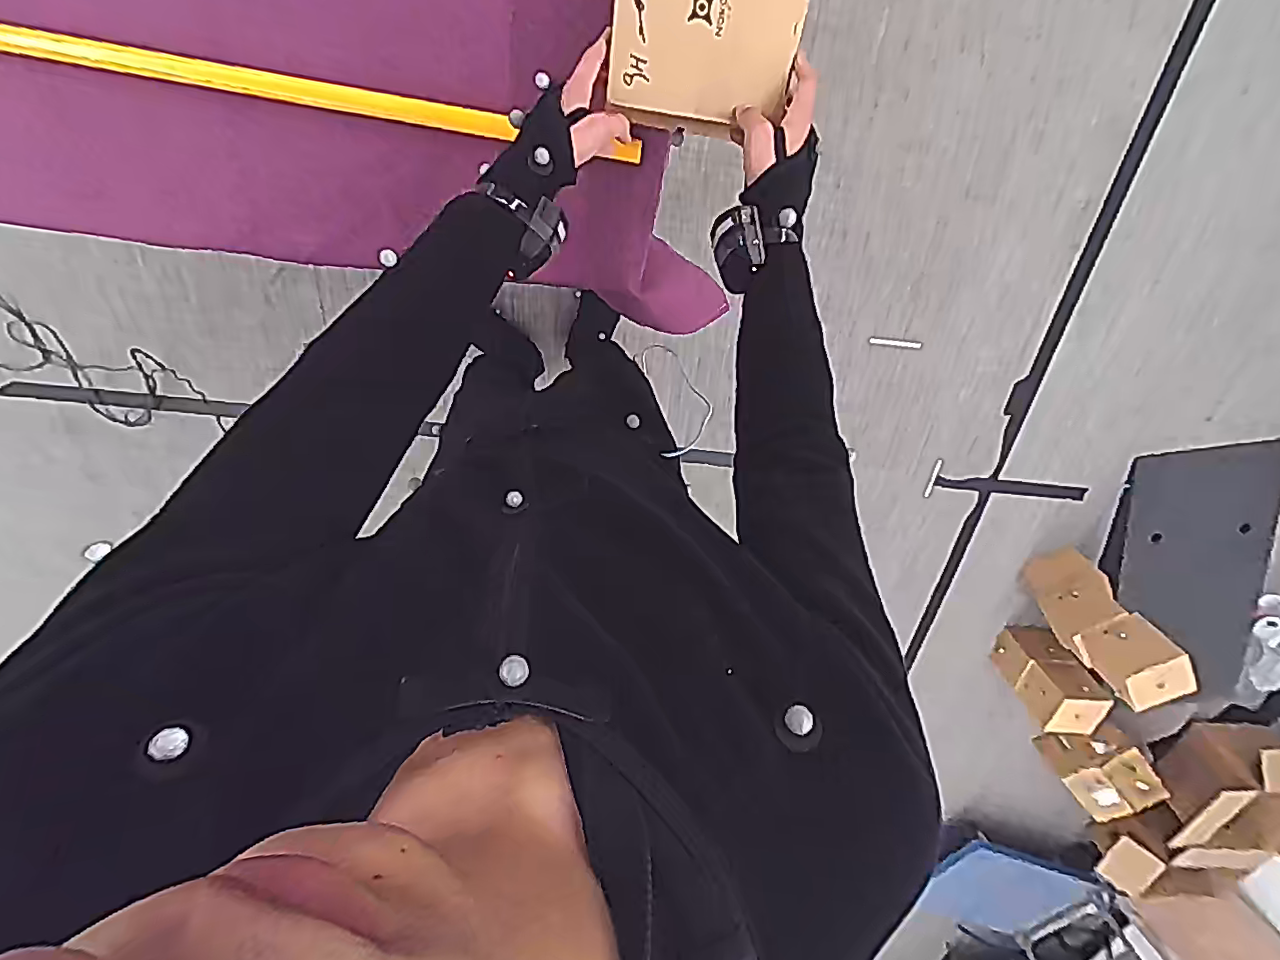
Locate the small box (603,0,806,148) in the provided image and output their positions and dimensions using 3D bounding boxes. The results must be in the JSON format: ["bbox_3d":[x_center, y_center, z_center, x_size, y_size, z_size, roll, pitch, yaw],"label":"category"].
[{"bbox_3d":[0.057,-0.460,0.571,0.179,0.176,0.168,6,119,-7],"label":"small box"}]
